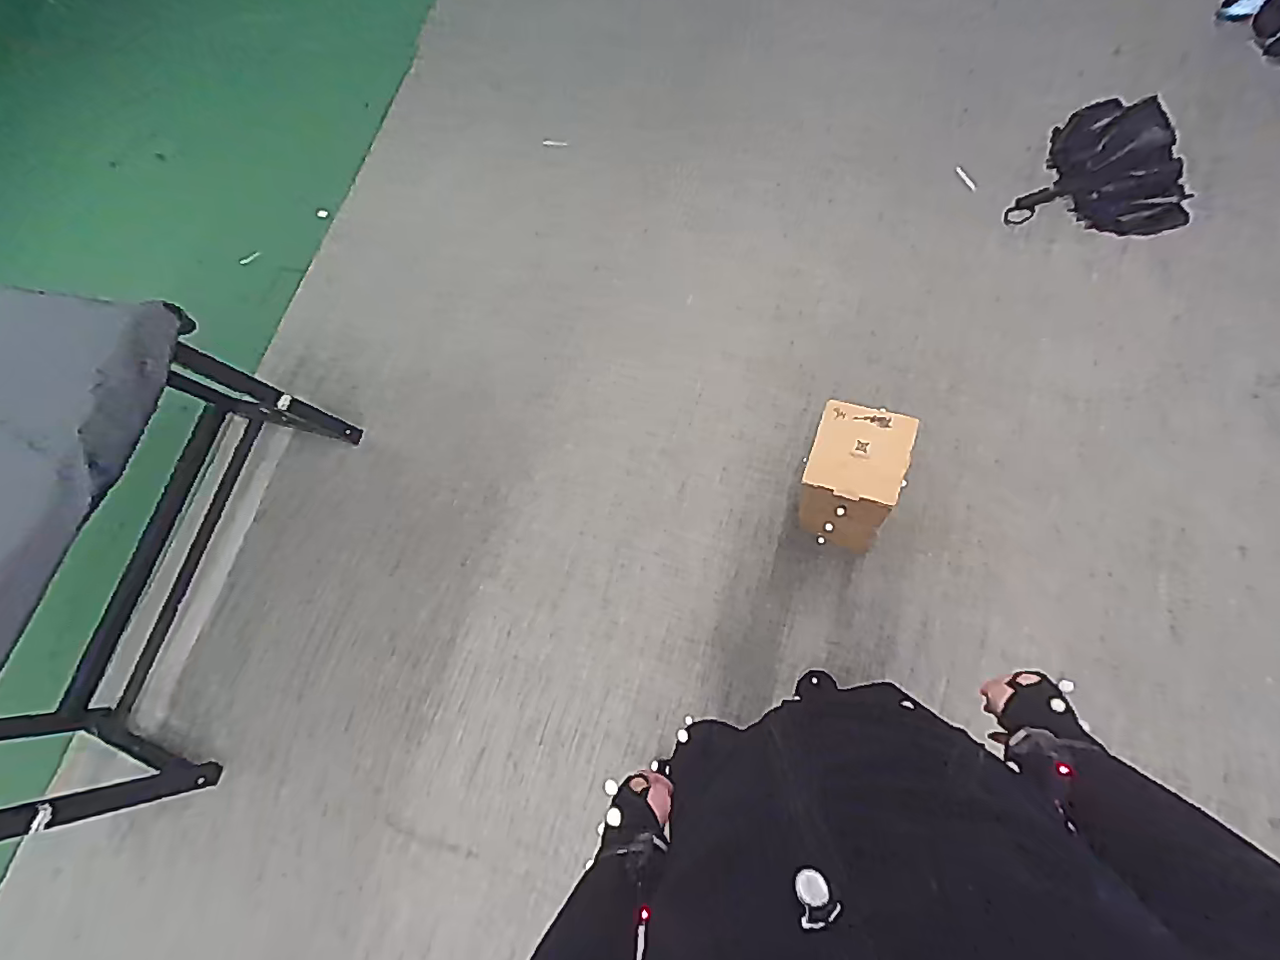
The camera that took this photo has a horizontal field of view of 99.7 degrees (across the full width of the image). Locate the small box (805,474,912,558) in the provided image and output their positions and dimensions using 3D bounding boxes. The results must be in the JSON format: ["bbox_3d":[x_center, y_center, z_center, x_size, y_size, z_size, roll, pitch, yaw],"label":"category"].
[{"bbox_3d":[0.479,0.053,1.214,0.168,0.176,0.179,27,81,22],"label":"small box"}]

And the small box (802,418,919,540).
[{"bbox_3d":[0.427,0.004,1.067,0.168,0.176,0.179,17,78,20],"label":"small box"}]

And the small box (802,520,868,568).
[{"bbox_3d":[0.518,0.102,1.367,0.168,0.176,0.179,25,81,22],"label":"small box"}]
